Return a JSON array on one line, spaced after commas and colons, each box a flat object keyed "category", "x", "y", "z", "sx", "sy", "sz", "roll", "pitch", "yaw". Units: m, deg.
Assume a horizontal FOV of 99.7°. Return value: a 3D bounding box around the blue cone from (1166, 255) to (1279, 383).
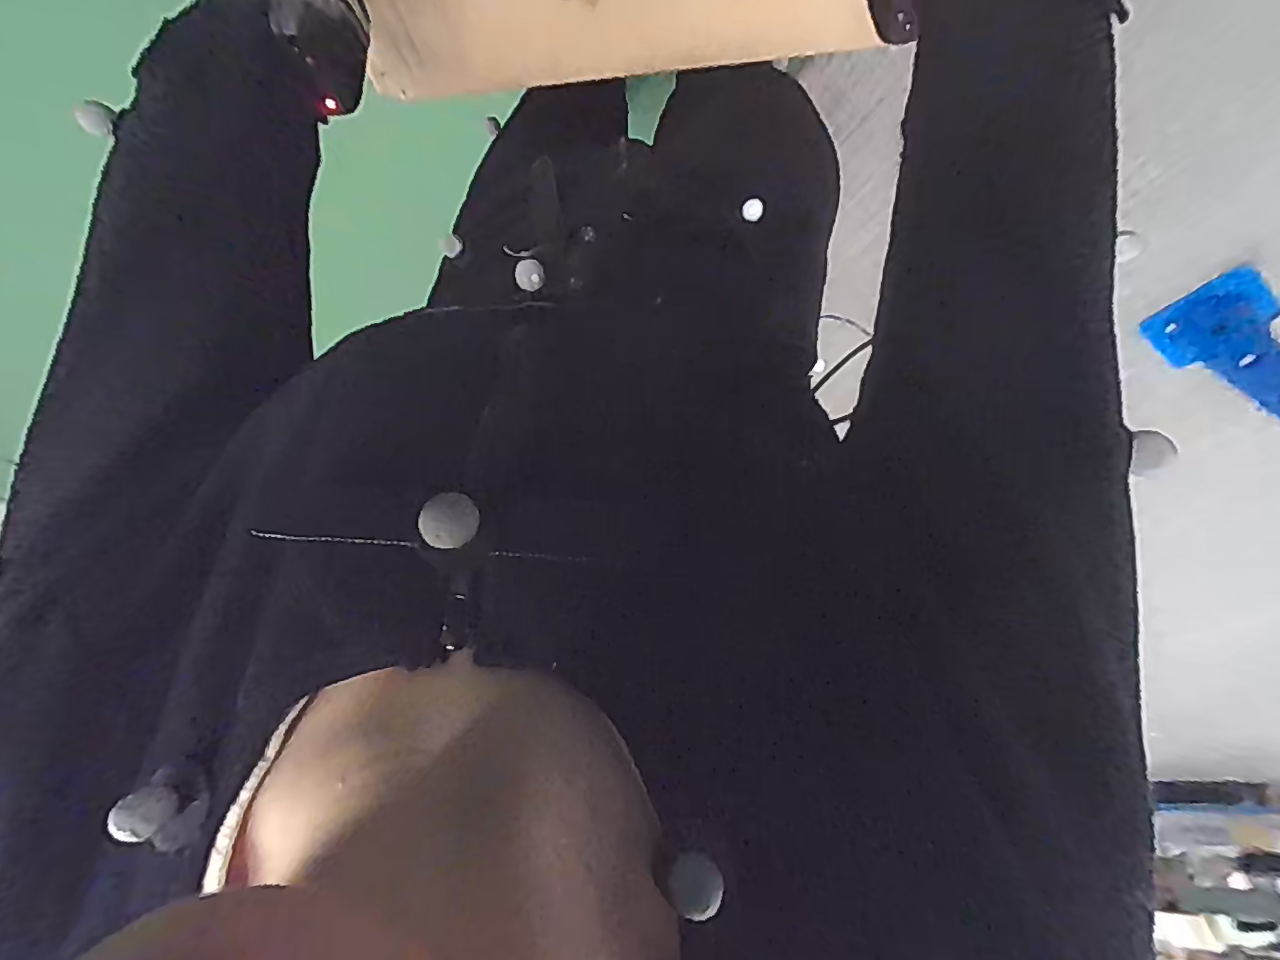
[{"category": "blue cone", "x": 1.234, "y": -0.240, "z": 1.038, "sx": 0.193, "sy": 0.380, "sz": 0.192, "roll": 29, "pitch": 135, "yaw": -20}]
